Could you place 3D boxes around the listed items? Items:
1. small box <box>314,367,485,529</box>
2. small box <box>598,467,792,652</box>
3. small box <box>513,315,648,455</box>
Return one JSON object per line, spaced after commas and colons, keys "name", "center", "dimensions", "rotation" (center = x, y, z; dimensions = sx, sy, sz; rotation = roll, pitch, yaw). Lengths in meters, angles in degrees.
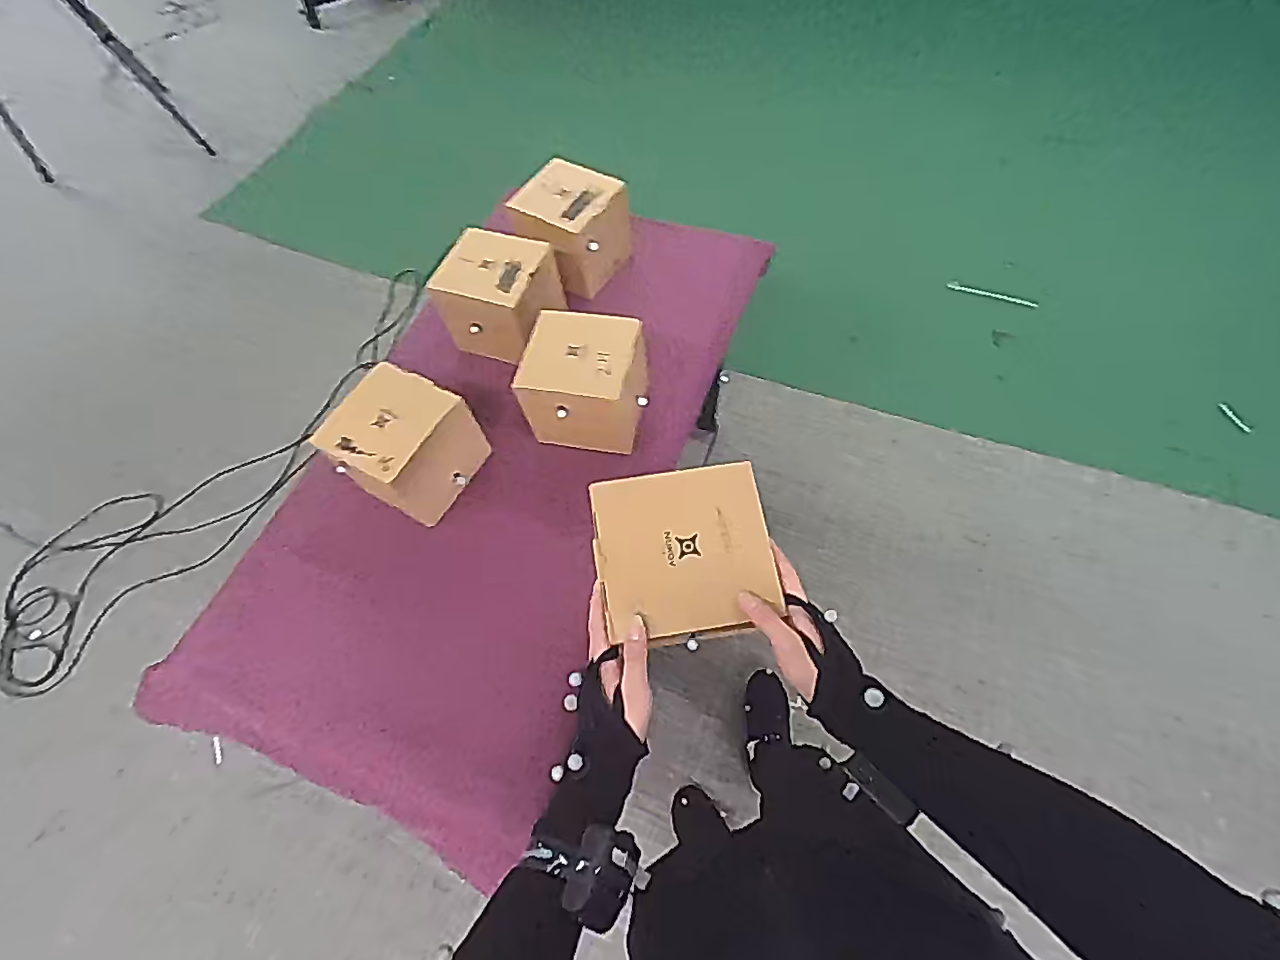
{"name": "small box", "center": [-0.382, -0.049, 0.902], "dimensions": [0.168, 0.176, 0.179], "rotation": [25, 67, 16]}
{"name": "small box", "center": [0.051, 0.099, 0.615], "dimensions": [0.179, 0.176, 0.168], "rotation": [-6, 70, -3]}
{"name": "small box", "center": [-0.091, -0.159, 0.936], "dimensions": [0.179, 0.176, 0.168], "rotation": [9, 64, 10]}
